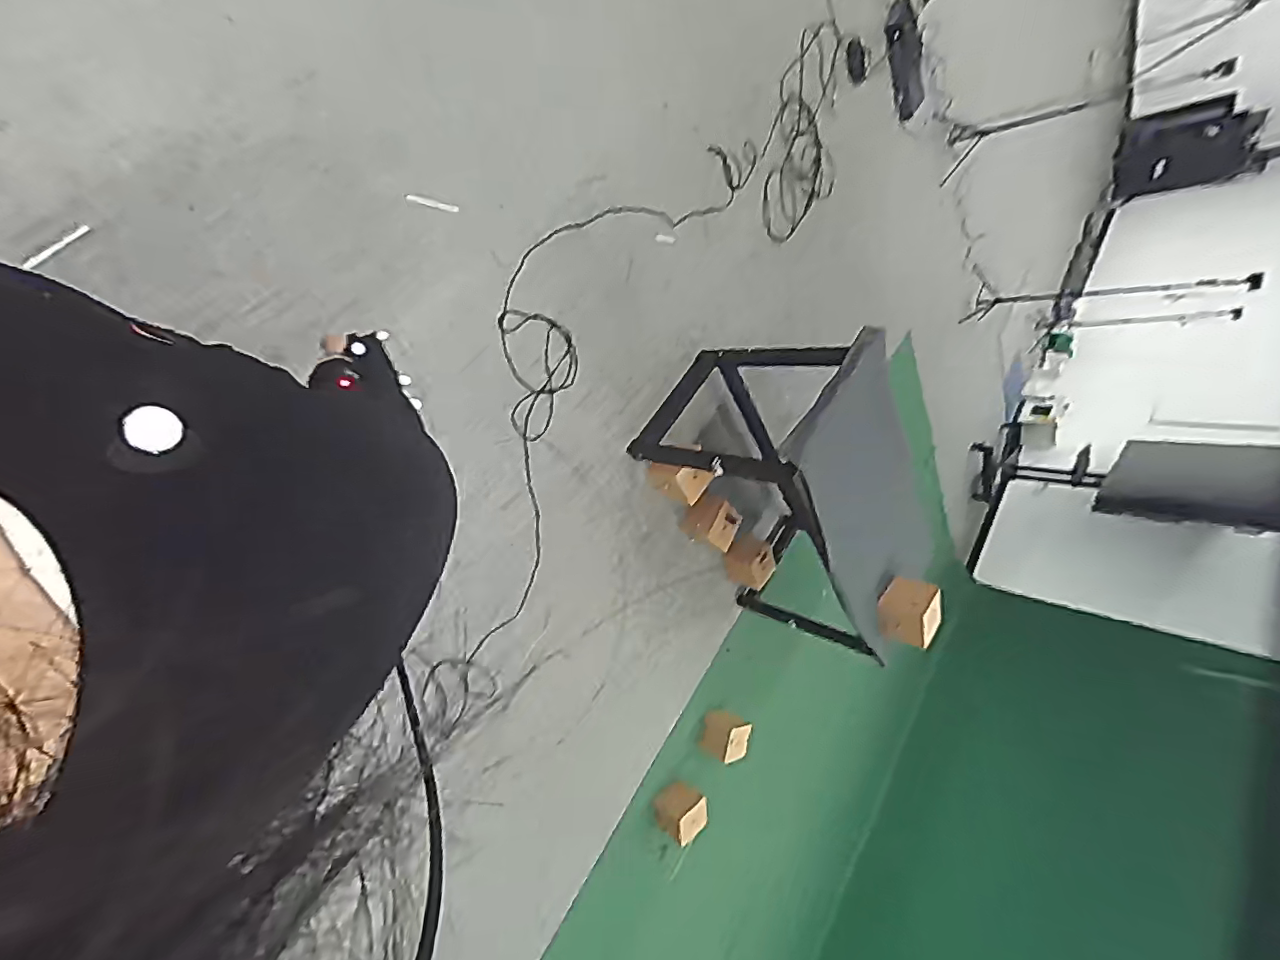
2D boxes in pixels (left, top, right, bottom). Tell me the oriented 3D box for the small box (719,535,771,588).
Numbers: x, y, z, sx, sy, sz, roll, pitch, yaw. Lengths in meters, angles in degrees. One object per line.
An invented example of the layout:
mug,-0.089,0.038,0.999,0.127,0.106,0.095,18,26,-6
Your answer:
small box,0.504,0.384,2.600,0.168,0.176,0.179,-42,127,-29

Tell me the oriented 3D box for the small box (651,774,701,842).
small box,0.162,1.523,2.518,0.179,0.176,0.168,-19,113,-41

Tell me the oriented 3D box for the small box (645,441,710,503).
small box,0.143,-0.036,2.161,0.179,0.176,0.168,-50,129,-25

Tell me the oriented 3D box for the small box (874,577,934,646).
small box,1.019,0.503,2.094,0.179,0.176,0.168,-36,122,-36

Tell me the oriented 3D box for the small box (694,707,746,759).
small box,0.396,1.251,2.688,0.179,0.176,0.168,12,90,-46
